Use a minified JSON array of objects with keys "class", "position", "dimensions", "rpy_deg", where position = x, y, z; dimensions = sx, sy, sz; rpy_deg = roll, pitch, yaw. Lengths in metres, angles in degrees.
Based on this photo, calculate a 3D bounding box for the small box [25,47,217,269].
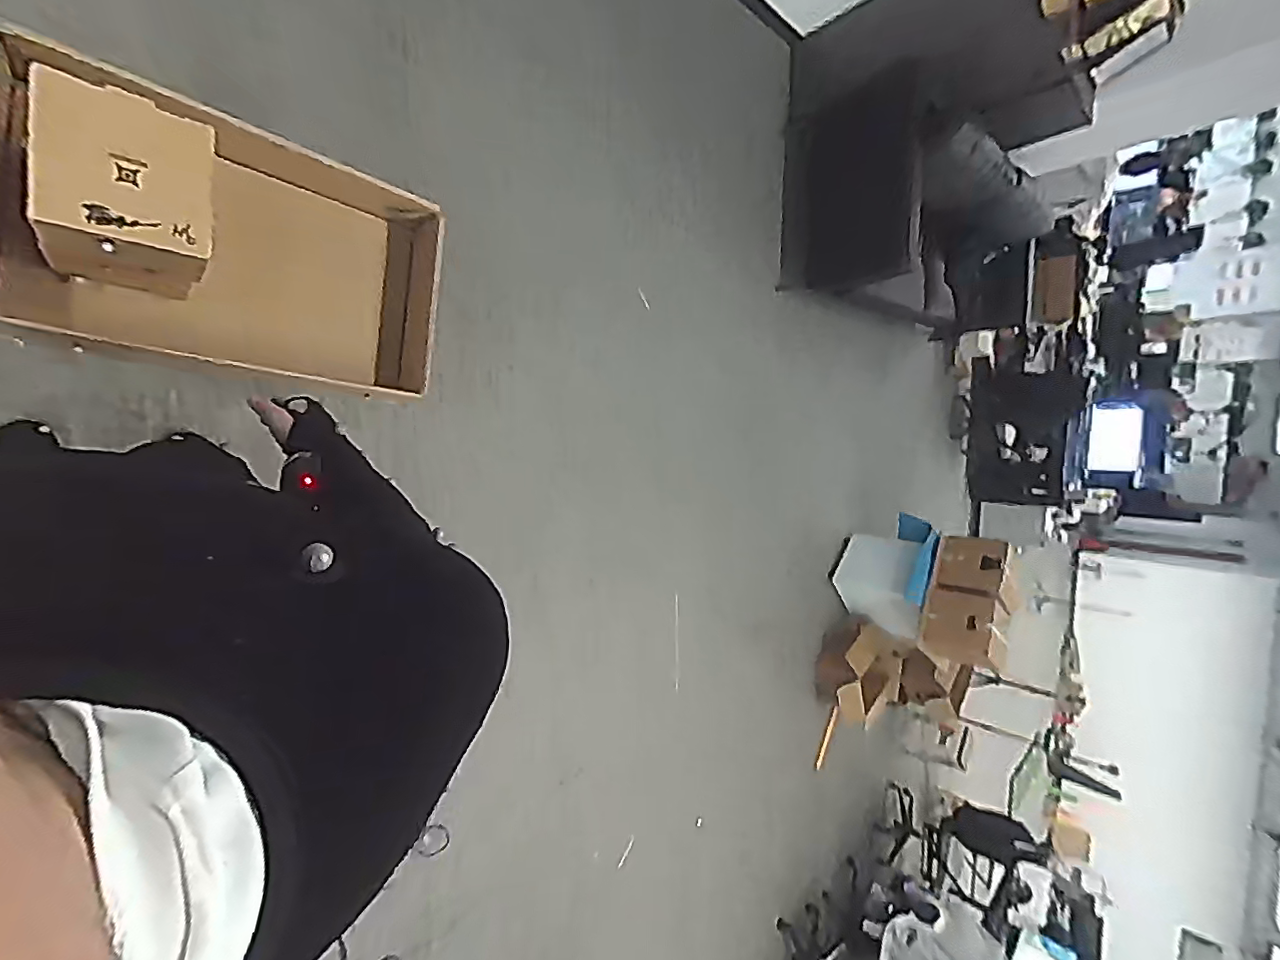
[{"class":"small box","position":[-0.679,-0.404,0.720],"dimensions":[0.168,0.176,0.179],"rpy_deg":[3,93,-42]}]

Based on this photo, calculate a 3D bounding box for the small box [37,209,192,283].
[{"class":"small box","position":[-0.792,-0.423,0.837],"dimensions":[0.168,0.176,0.179],"rpy_deg":[6,91,-43]}]
